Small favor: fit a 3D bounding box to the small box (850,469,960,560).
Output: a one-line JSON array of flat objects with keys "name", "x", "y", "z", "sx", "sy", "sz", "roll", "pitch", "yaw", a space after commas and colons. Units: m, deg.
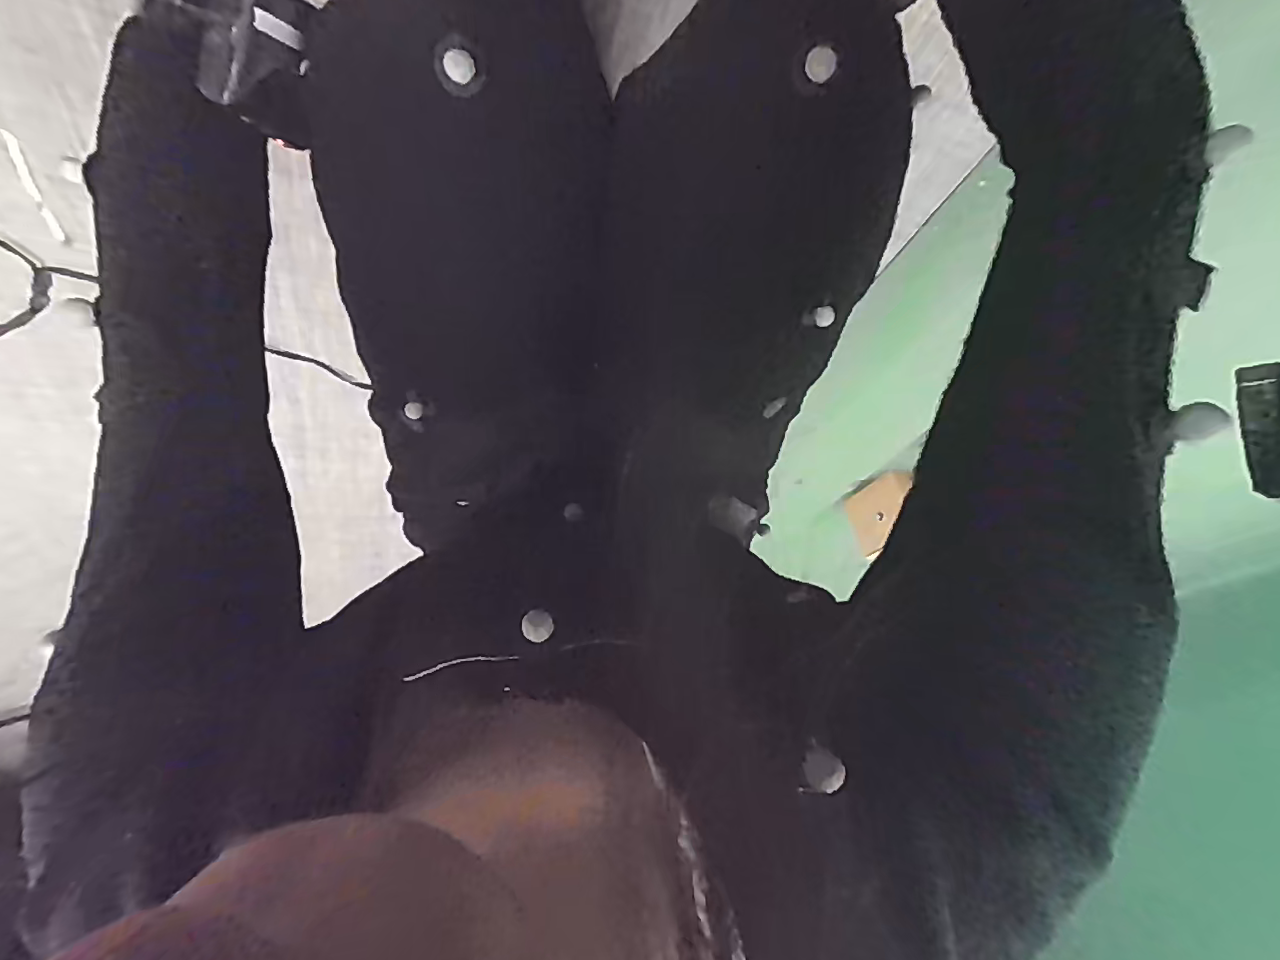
[{"name": "small box", "x": 0.672, "y": 0.093, "z": 1.401, "sx": 0.168, "sy": 0.176, "sz": 0.179, "roll": 6, "pitch": 146, "yaw": -24}]
